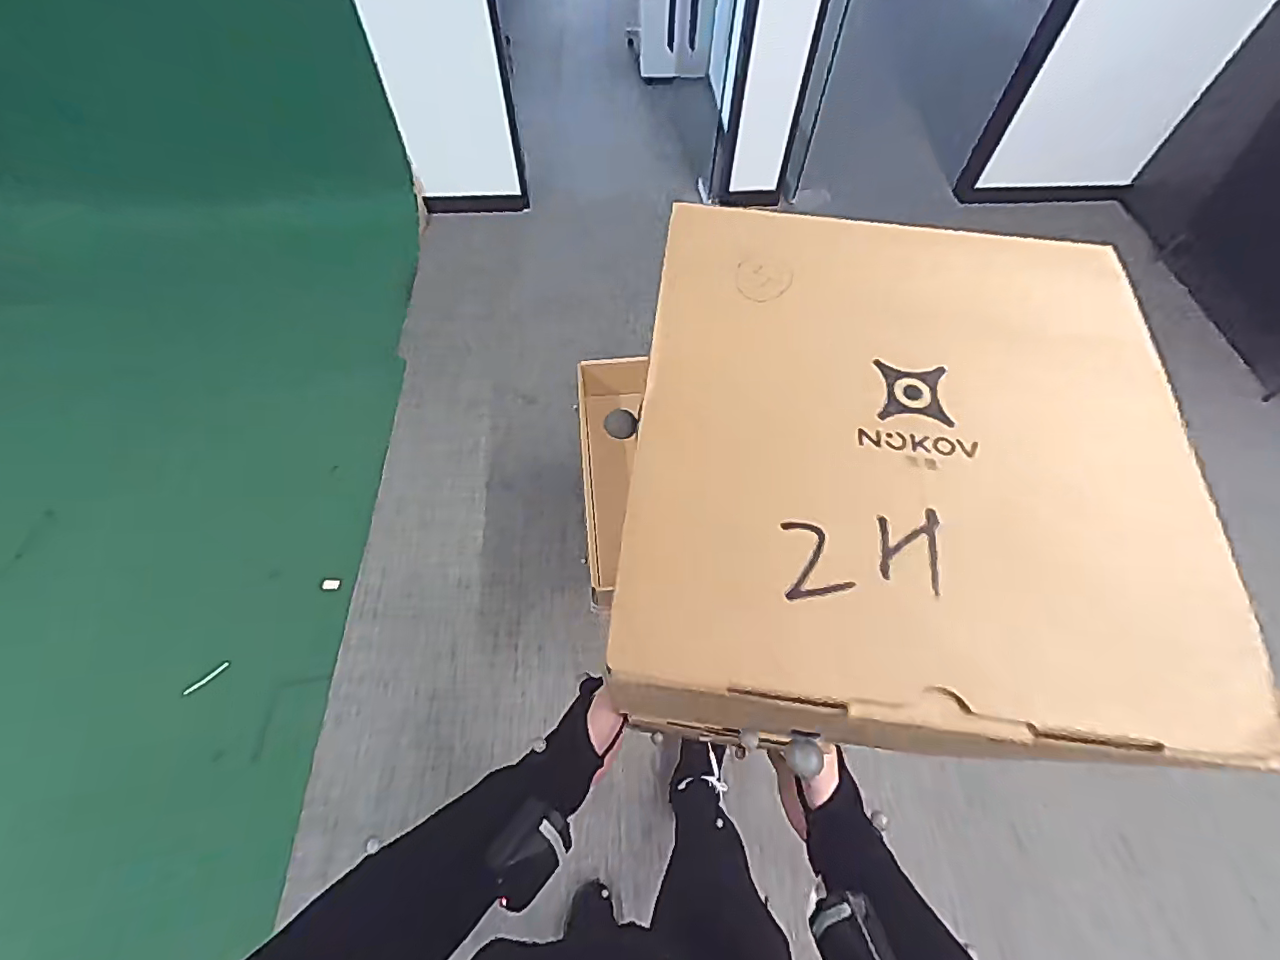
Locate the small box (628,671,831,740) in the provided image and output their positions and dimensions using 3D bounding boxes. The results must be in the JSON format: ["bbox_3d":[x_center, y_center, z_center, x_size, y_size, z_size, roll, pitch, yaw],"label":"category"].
[{"bbox_3d":[0.083,0.151,0.539,0.168,0.176,0.179,9,64,2],"label":"small box"}]

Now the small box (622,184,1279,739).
[{"bbox_3d":[0.084,0.008,0.241,0.168,0.176,0.179,7,65,2],"label":"small box"}]

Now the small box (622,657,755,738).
[{"bbox_3d":[0.075,0.226,0.685,0.179,0.176,0.168,8,64,1],"label":"small box"}]
